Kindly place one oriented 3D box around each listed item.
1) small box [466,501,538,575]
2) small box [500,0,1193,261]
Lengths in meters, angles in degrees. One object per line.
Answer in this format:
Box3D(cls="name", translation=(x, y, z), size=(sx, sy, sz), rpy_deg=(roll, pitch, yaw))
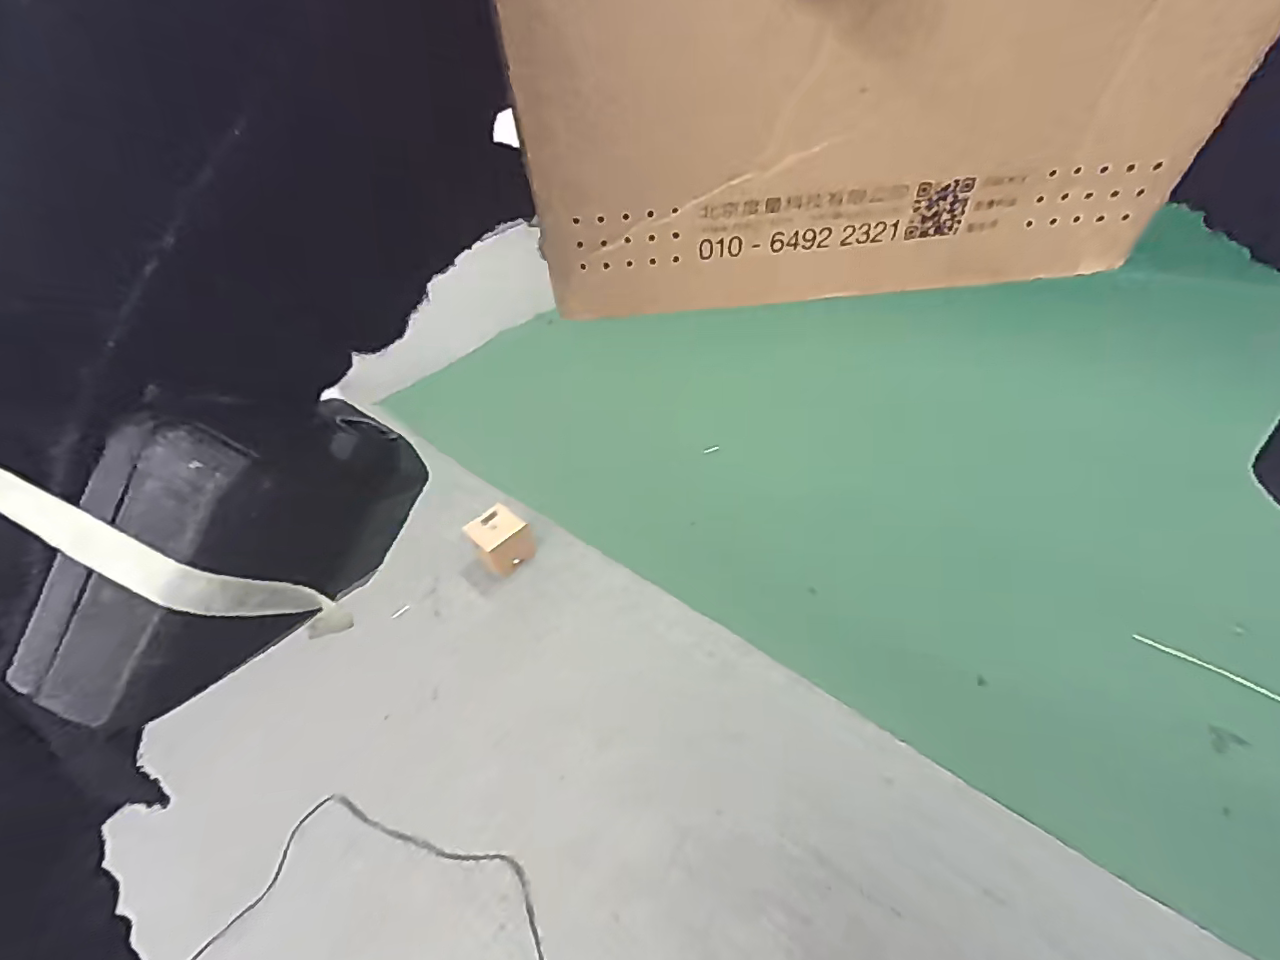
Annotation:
Box3D(cls="small box", translation=(-0.501, 0.215, 1.970), size=(0.179, 0.176, 0.168), rpy_deg=(31, 55, 35))
Box3D(cls="small box", translation=(0.044, -0.180, 0.156), size=(0.168, 0.176, 0.179), rpy_deg=(-5, 52, 1))
